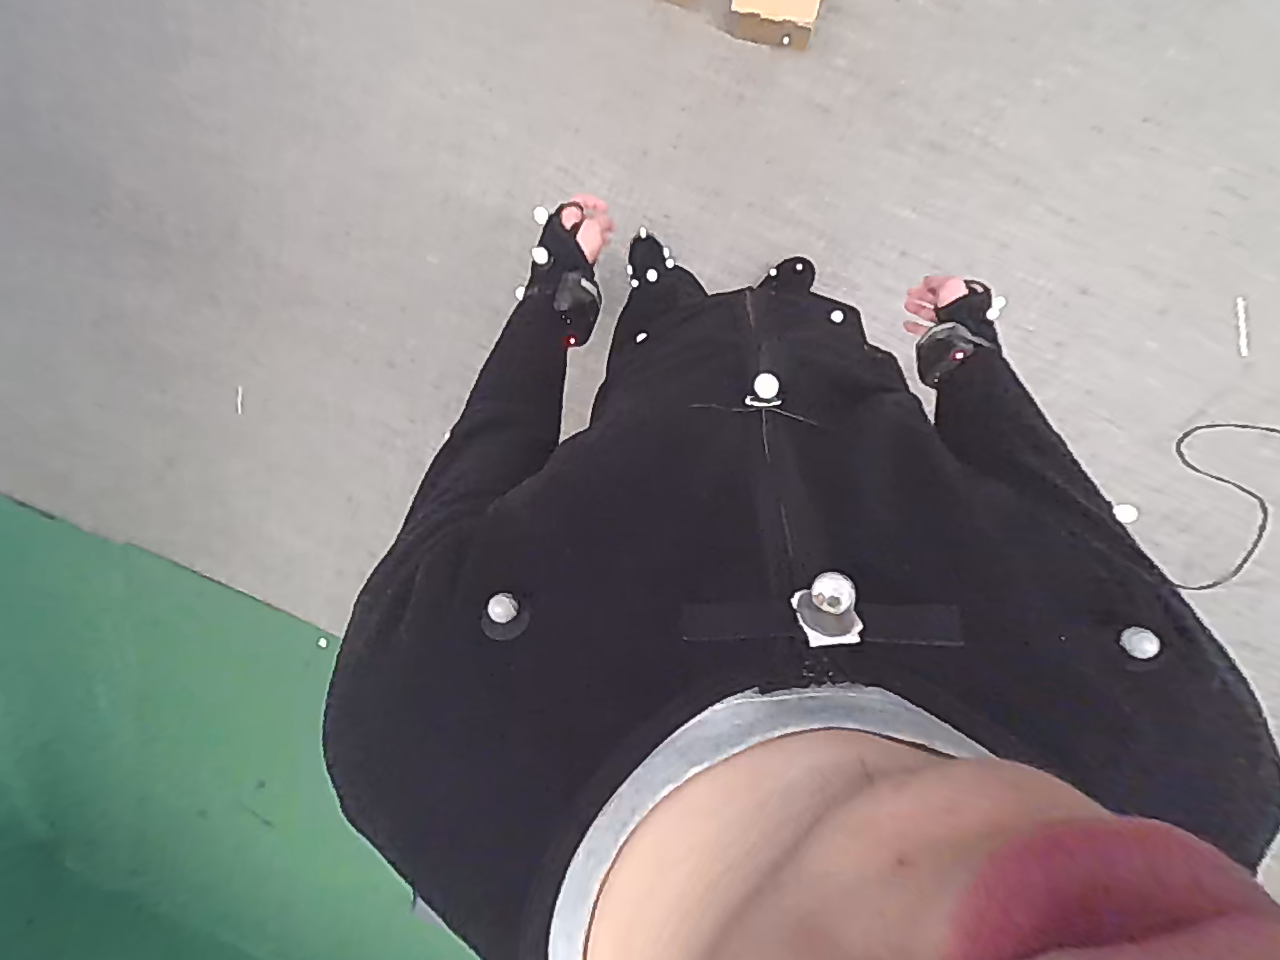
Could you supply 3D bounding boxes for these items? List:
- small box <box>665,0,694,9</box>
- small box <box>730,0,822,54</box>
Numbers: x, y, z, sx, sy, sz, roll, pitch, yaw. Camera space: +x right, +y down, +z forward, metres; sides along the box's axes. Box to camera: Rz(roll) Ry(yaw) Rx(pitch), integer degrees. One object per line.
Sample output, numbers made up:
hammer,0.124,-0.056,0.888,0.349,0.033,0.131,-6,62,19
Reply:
small box,0.048,-1.088,1.071,0.168,0.176,0.179,23,117,2
small box,0.283,-0.983,1.069,0.168,0.176,0.179,15,114,4
